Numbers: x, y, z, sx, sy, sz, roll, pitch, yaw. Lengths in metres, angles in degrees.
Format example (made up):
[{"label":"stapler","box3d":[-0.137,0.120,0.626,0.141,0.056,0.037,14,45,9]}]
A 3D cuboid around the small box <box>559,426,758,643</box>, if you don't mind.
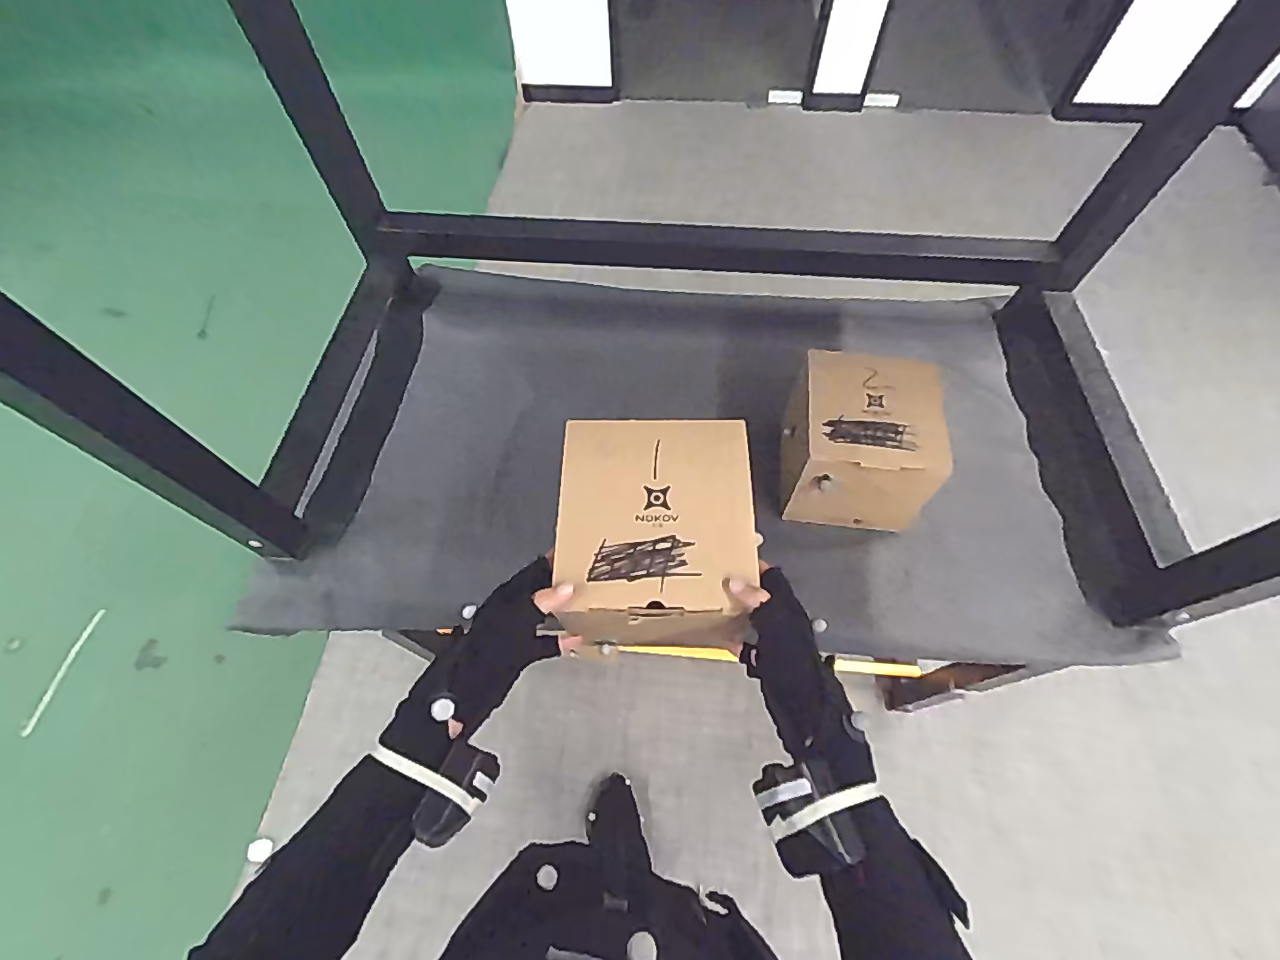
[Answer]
[{"label":"small box","box3d":[0.020,0.063,0.543,0.168,0.176,0.179,0,63,2]}]
